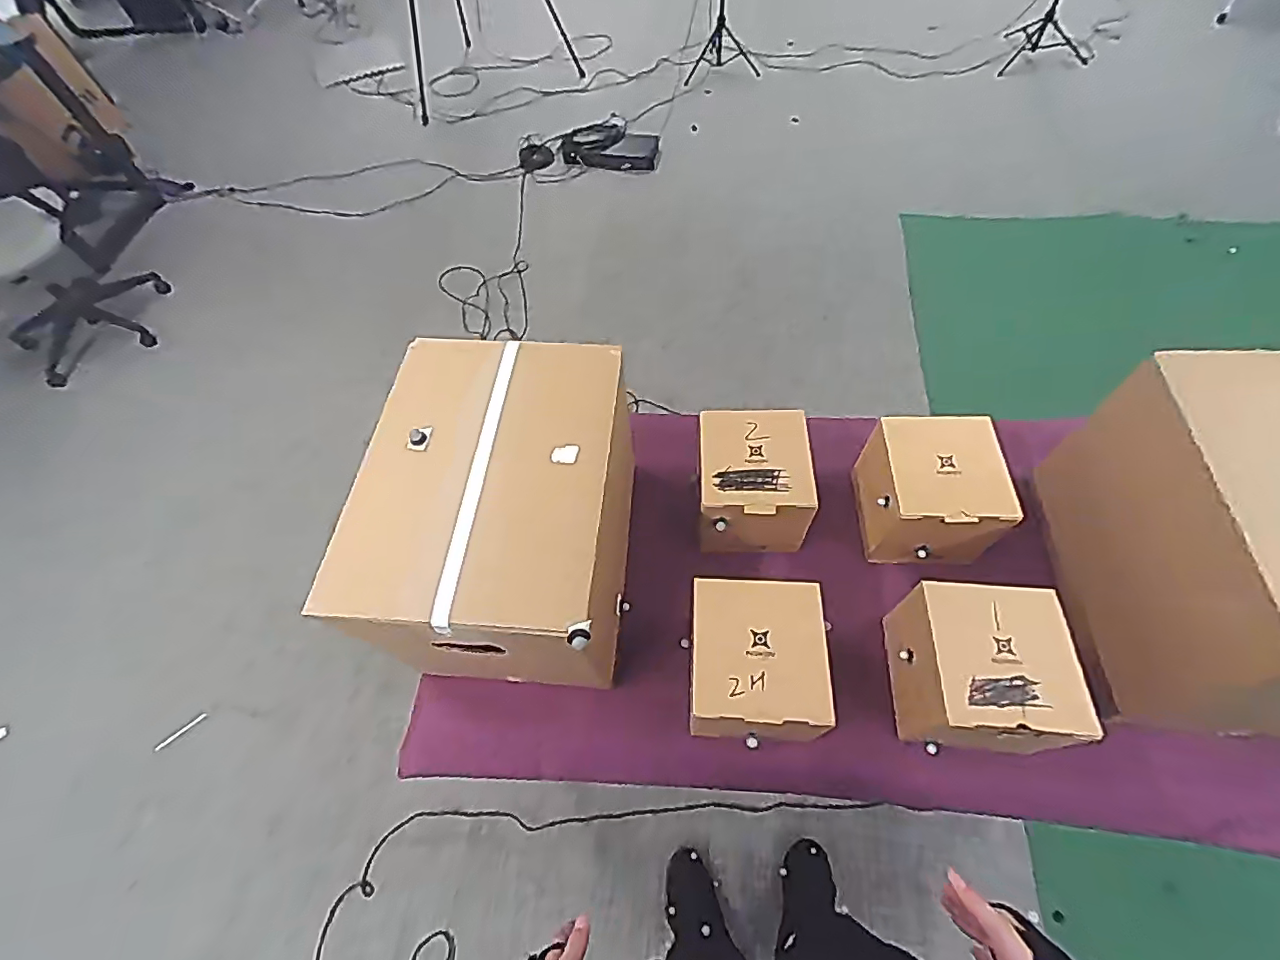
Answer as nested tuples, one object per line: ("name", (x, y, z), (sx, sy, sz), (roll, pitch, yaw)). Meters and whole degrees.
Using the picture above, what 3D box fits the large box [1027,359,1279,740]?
("large box", (0.793, 0.099, 0.704), (0.320, 0.320, 0.408), (3, 60, 7))

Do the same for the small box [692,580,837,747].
("small box", (0.156, 0.252, 0.734), (0.168, 0.176, 0.179), (1, 58, 6))
